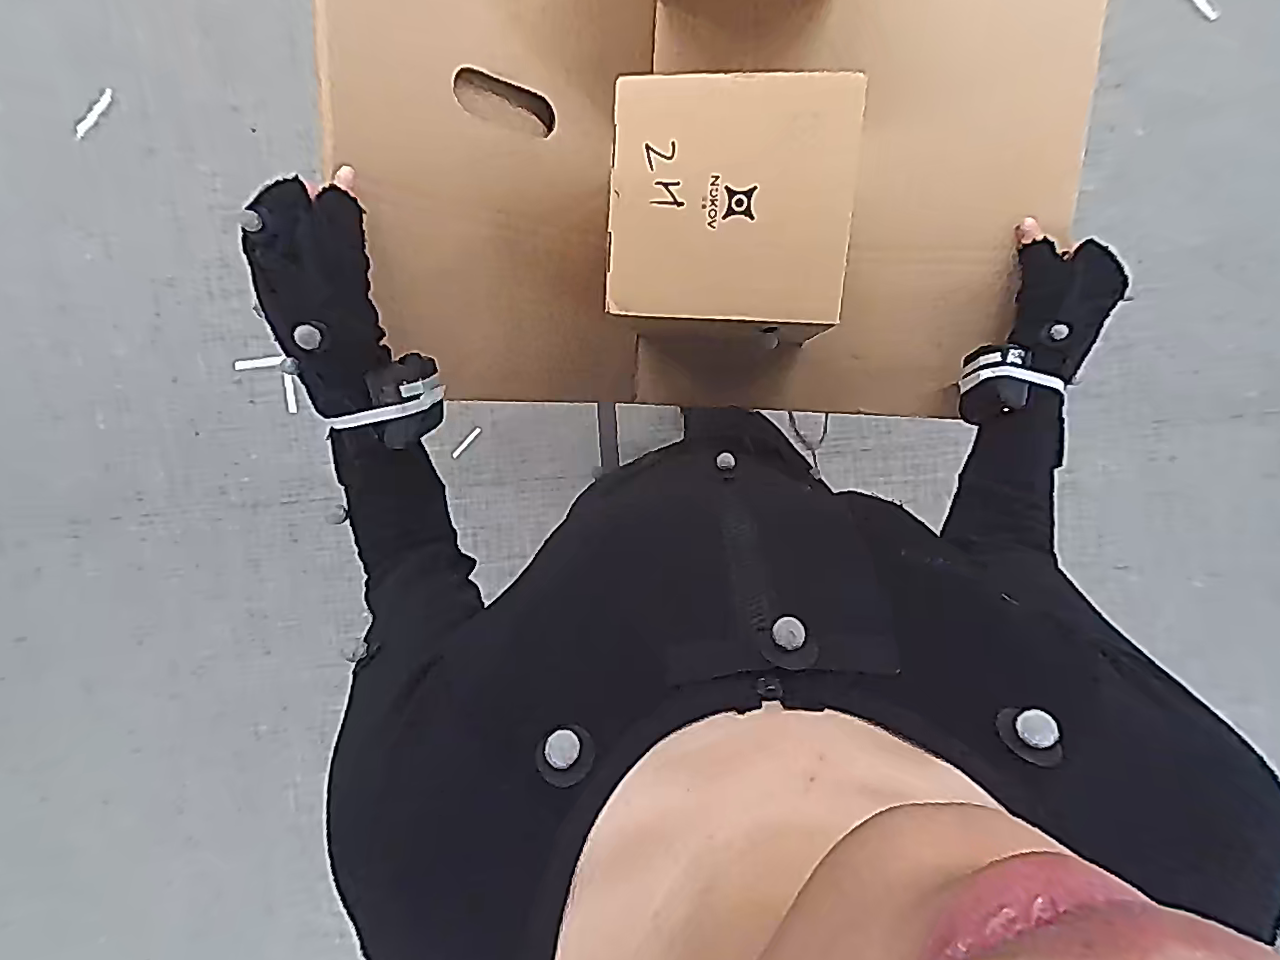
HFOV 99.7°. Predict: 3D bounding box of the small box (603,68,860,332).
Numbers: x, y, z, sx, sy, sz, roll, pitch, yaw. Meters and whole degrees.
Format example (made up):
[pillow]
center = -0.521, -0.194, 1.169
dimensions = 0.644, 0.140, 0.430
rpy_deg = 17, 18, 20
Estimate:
[small box]
center = 0.073, -0.225, 0.477
dimensions = 0.179, 0.176, 0.168
rpy_deg = 6, 100, 8
